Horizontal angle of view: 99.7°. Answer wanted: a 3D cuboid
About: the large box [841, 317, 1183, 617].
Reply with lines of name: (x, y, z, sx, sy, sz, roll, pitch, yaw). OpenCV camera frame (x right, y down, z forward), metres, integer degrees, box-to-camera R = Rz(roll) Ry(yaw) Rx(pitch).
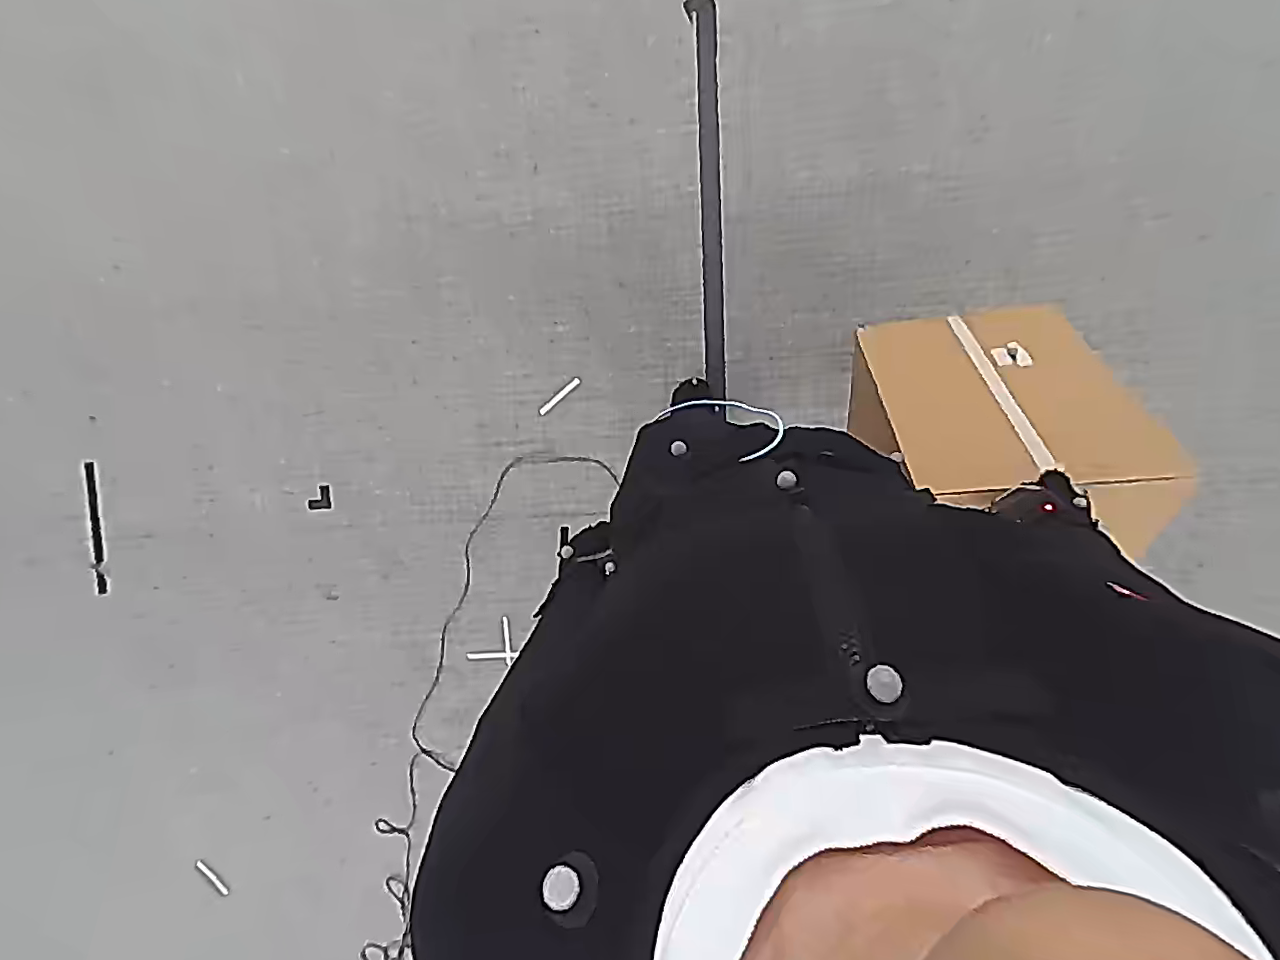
large box: (0.549, -0.025, 0.918, 0.320, 0.408, 0.320, -4, 134, 9)
